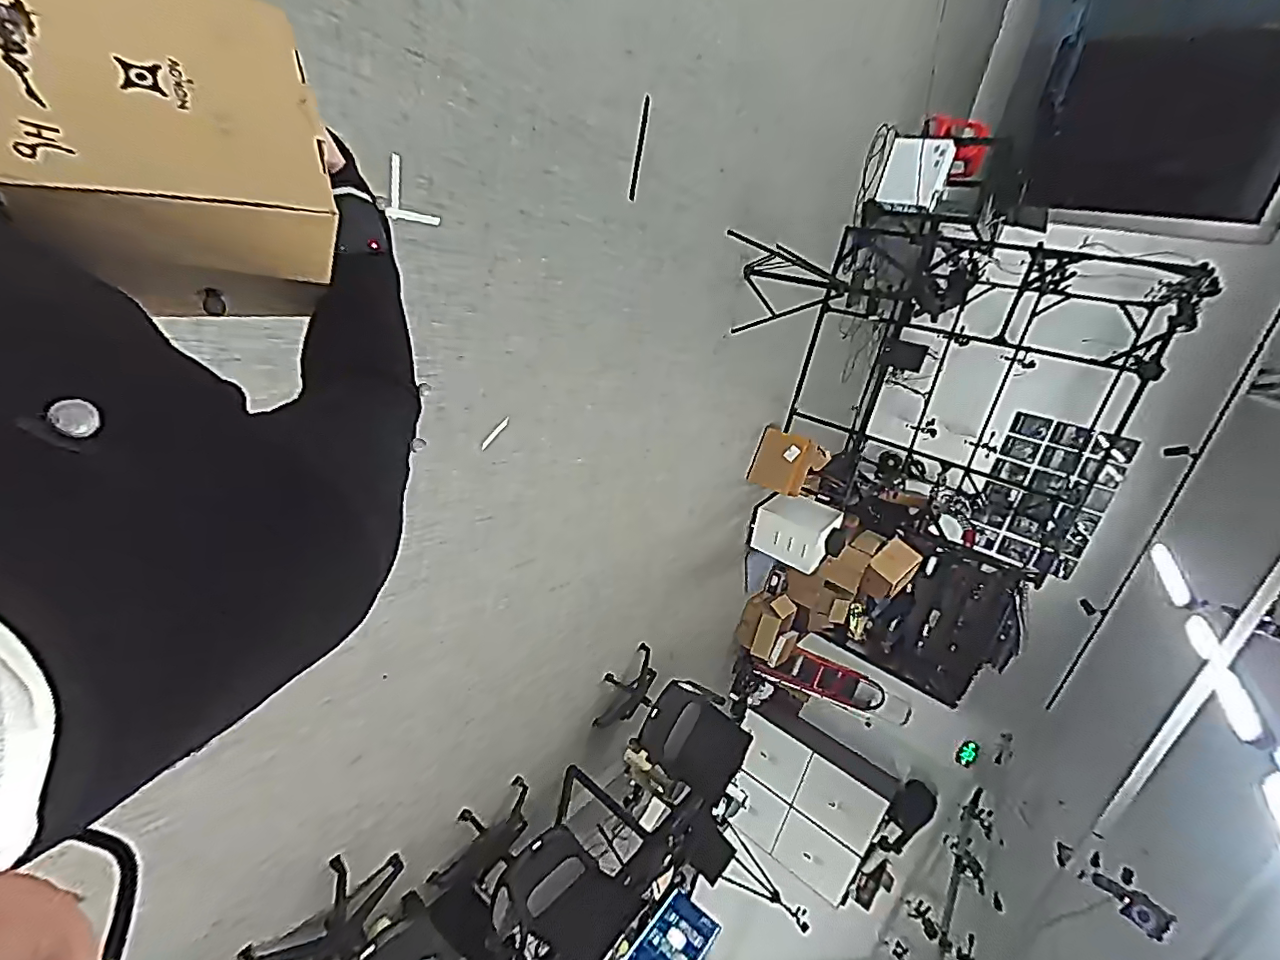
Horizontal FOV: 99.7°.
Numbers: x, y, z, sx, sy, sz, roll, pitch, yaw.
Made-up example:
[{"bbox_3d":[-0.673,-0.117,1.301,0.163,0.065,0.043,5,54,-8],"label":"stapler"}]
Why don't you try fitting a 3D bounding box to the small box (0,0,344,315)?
[{"bbox_3d":[-0.361,-0.246,0.435,0.179,0.176,0.168,-12,84,-36],"label":"small box"}]
